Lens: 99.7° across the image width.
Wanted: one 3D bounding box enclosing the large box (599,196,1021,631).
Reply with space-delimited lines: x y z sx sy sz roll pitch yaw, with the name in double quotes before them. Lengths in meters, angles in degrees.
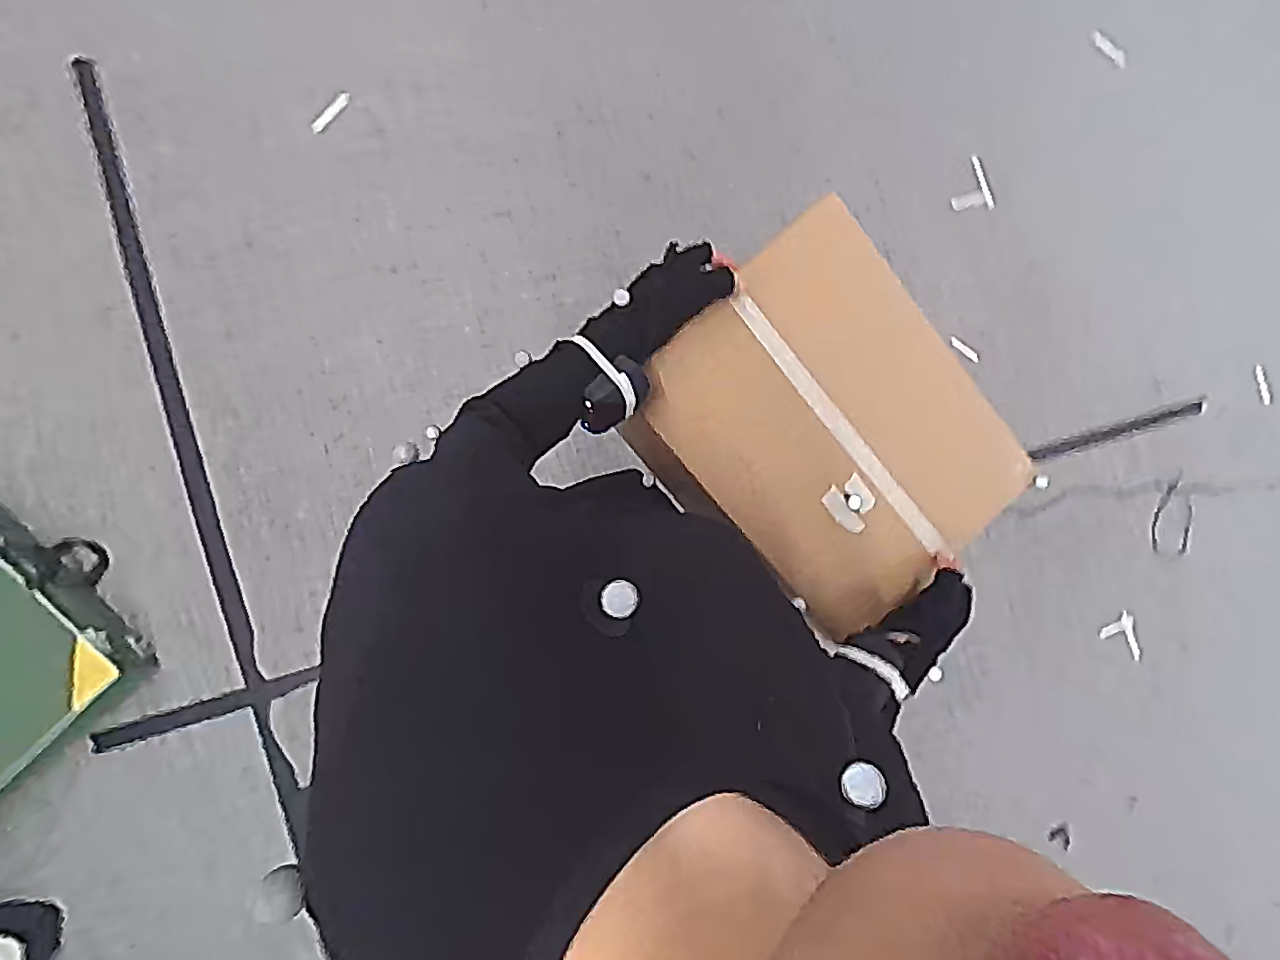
"large box" 0.195 -0.079 0.754 0.320 0.320 0.408 -41 99 -3
